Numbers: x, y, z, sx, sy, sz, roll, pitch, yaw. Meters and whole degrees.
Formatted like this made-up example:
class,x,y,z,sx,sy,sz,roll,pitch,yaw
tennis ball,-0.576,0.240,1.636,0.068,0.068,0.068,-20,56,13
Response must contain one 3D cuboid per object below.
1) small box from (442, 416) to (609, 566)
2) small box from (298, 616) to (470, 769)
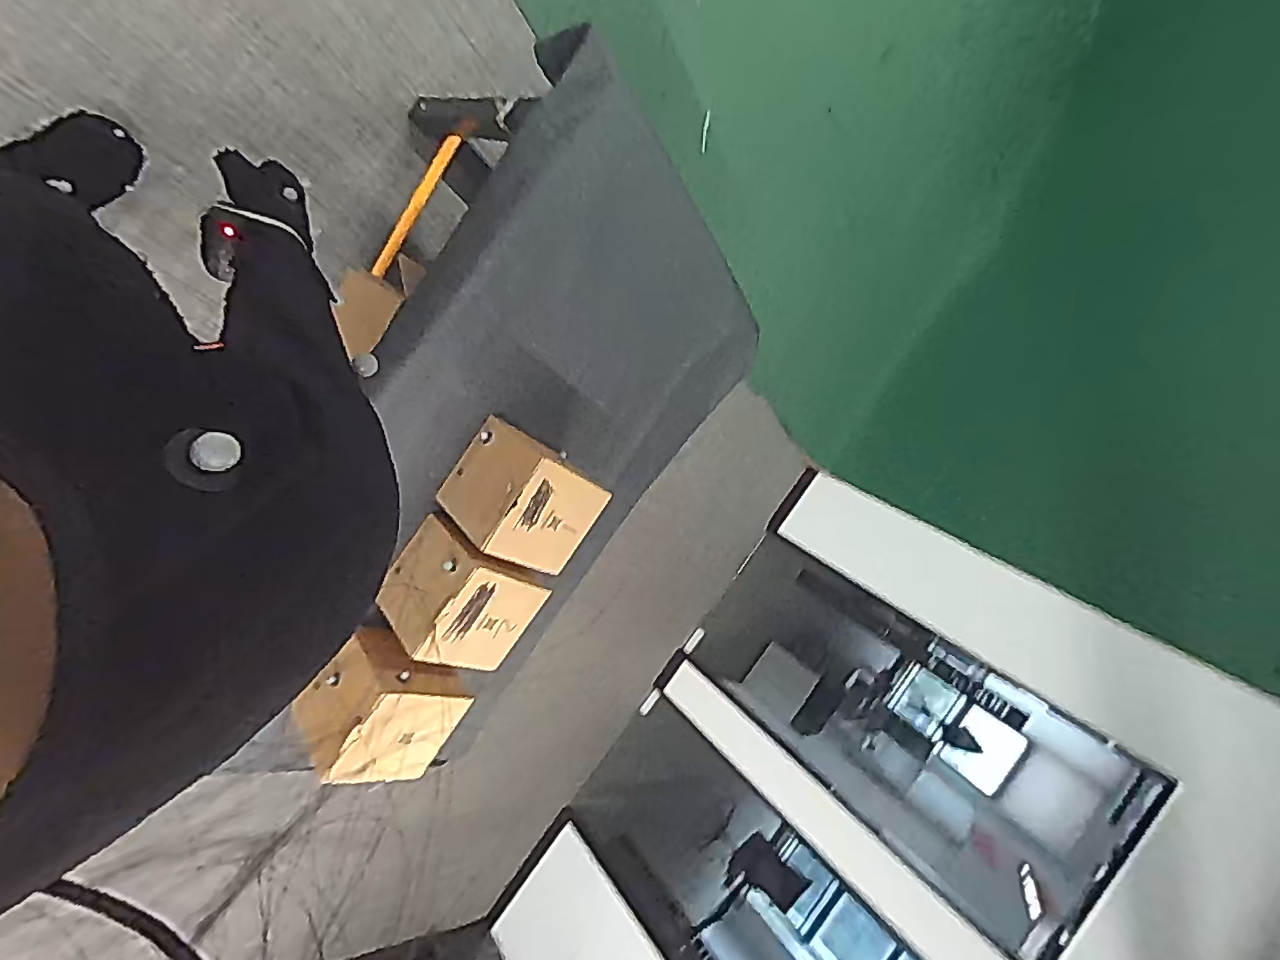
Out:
class,x,y,z,sx,sy,sz,roll,pitch,yaw
small box,-0.193,0.014,0.898,0.168,0.176,0.179,-54,142,1
small box,-0.430,0.351,0.908,0.168,0.176,0.179,-54,142,0
